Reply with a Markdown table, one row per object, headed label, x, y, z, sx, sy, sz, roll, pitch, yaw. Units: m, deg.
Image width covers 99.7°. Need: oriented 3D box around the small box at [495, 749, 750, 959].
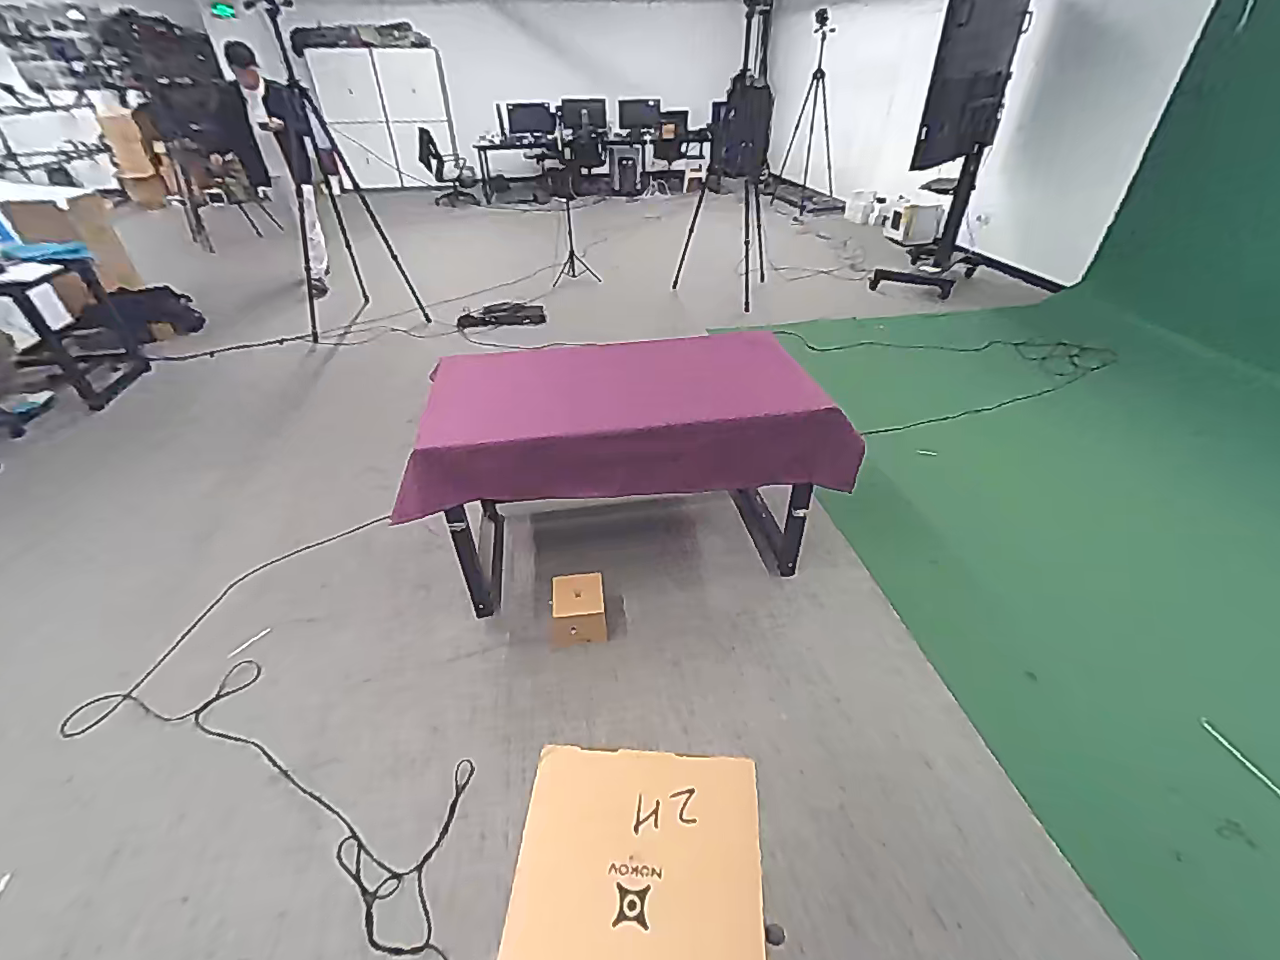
| label | x | y | z | sx | sy | sz | roll | pitch | yaw |
| --- | --- | --- | --- | --- | --- | --- | --- | --- | --- |
| small box | 0.000 | 0.336 | 0.420 | 0.168 | 0.176 | 0.179 | 1 | 44 | 8 |
